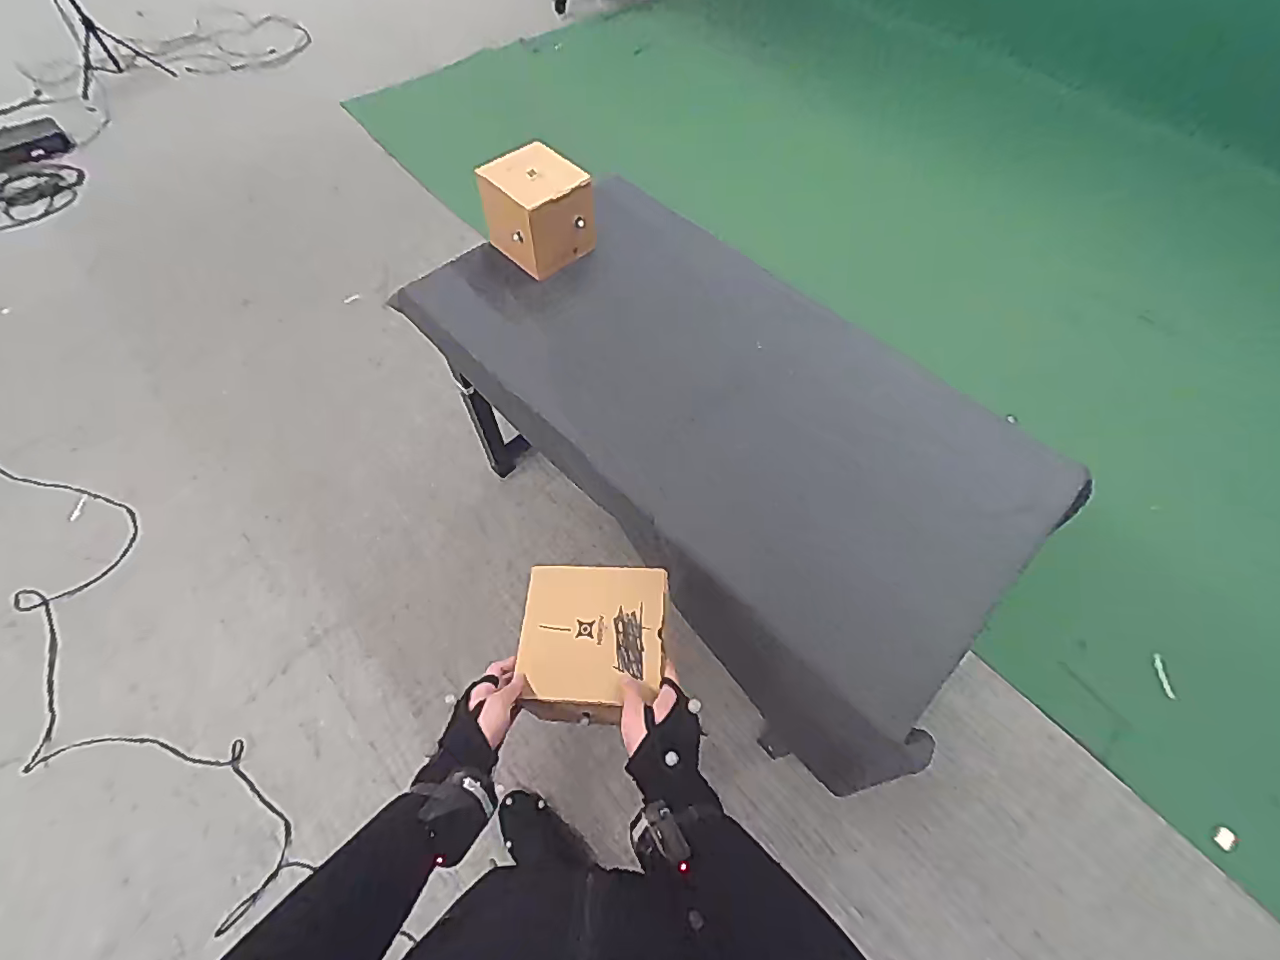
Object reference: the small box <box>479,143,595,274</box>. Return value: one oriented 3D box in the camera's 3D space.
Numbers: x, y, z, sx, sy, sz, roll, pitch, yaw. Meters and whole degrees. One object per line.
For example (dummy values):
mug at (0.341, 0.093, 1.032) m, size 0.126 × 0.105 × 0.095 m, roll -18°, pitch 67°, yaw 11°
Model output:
small box at (-0.207, -0.561, 1.137) m, size 0.168 × 0.176 × 0.179 m, roll -39°, pitch 68°, yaw -24°

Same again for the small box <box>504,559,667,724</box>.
small box at (-0.057, 0.215, 0.704) m, size 0.179 × 0.176 × 0.168 m, roll 2°, pitch 57°, yaw 5°
